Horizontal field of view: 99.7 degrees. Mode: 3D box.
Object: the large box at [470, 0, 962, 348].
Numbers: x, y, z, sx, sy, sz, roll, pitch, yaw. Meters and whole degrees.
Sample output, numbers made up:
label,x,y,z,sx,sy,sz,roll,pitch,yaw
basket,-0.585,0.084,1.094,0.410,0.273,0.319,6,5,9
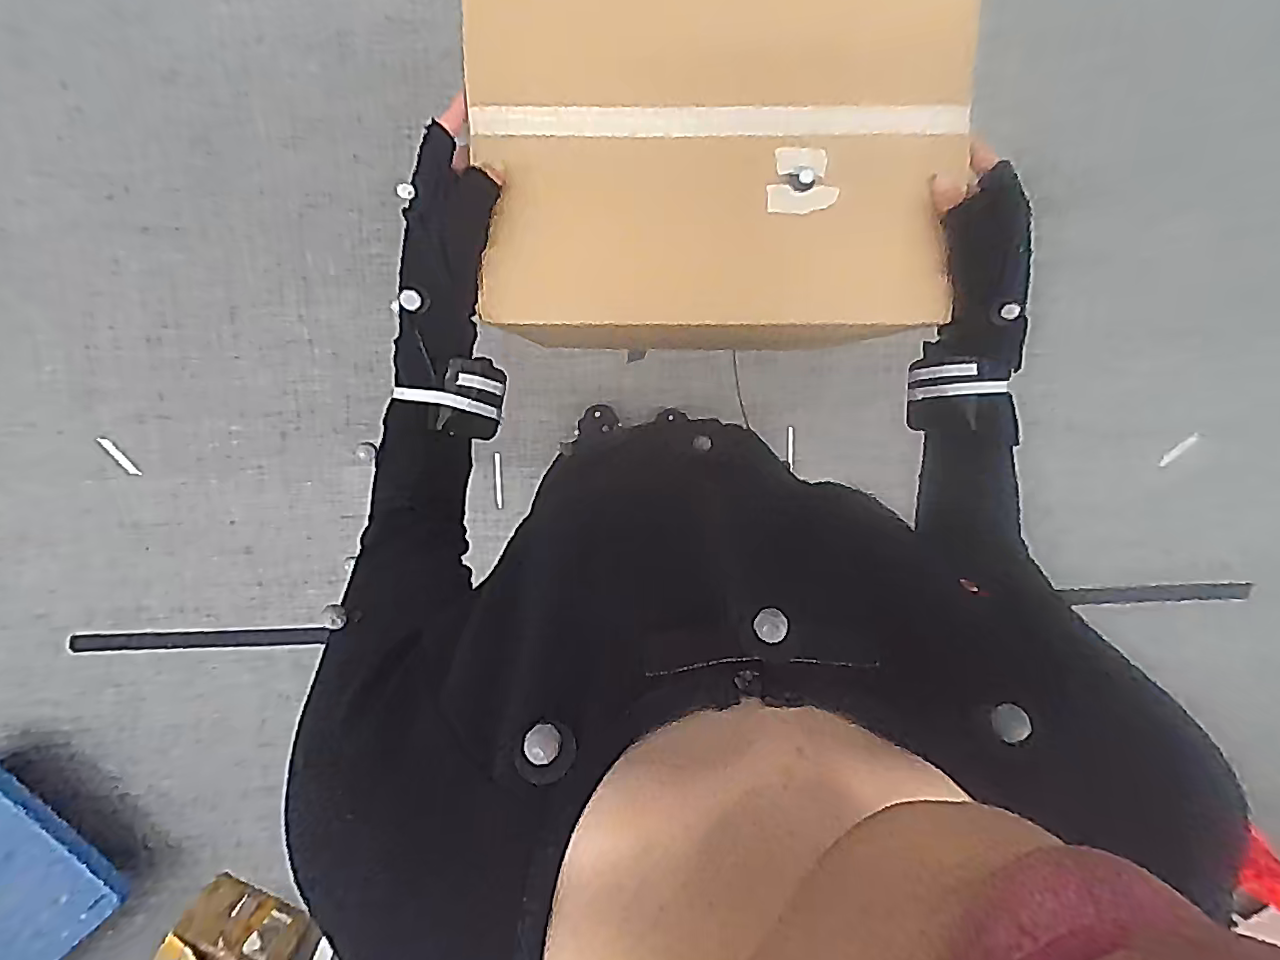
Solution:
label,x,y,z,sx,sy,sz,roll,pitch,yaw
large box,0.059,-0.320,0.595,0.408,0.320,0.320,-1,100,-1
